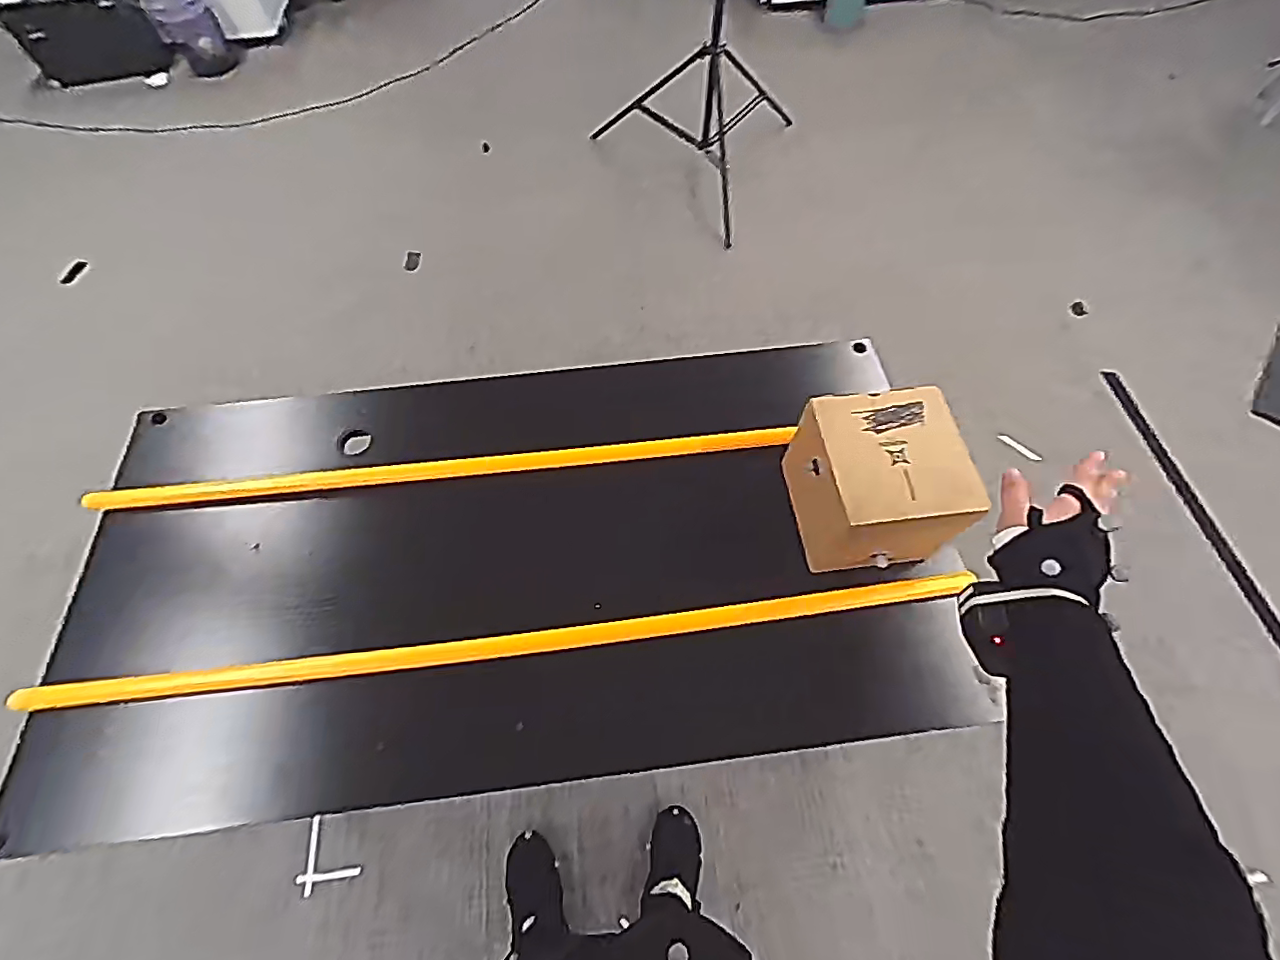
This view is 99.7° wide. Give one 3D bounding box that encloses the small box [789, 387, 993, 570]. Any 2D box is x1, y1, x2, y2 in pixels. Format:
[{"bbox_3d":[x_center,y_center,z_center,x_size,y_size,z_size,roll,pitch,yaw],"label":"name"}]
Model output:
[{"bbox_3d":[0.307,0.003,0.708,0.168,0.176,0.179,-6,63,-1],"label":"small box"}]
